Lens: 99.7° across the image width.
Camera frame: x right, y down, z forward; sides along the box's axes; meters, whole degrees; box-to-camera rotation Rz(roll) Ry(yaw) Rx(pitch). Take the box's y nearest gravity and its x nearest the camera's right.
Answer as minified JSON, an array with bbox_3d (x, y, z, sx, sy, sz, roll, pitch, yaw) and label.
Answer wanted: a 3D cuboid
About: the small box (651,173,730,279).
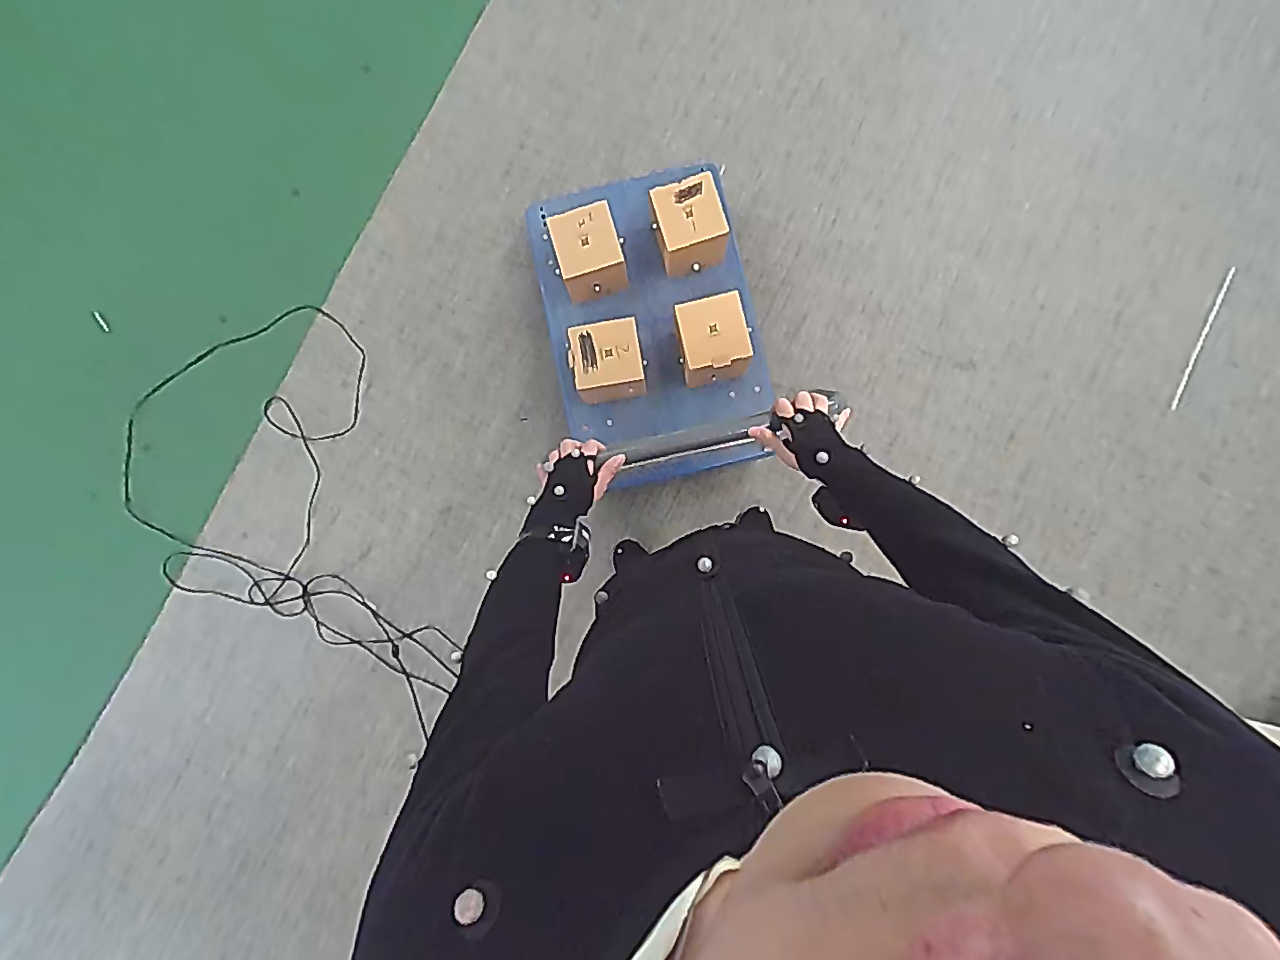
[{"bbox_3d":[0.132,-0.673,1.451,0.168,0.176,0.179,-17,86,2],"label":"small box"}]

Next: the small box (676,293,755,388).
[{"bbox_3d":[0.191,-0.361,1.422,0.168,0.176,0.179,-13,85,3],"label":"small box"}]

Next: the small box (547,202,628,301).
[{"bbox_3d":[-0.136,-0.605,1.461,0.168,0.176,0.179,-16,85,1],"label":"small box"}]
